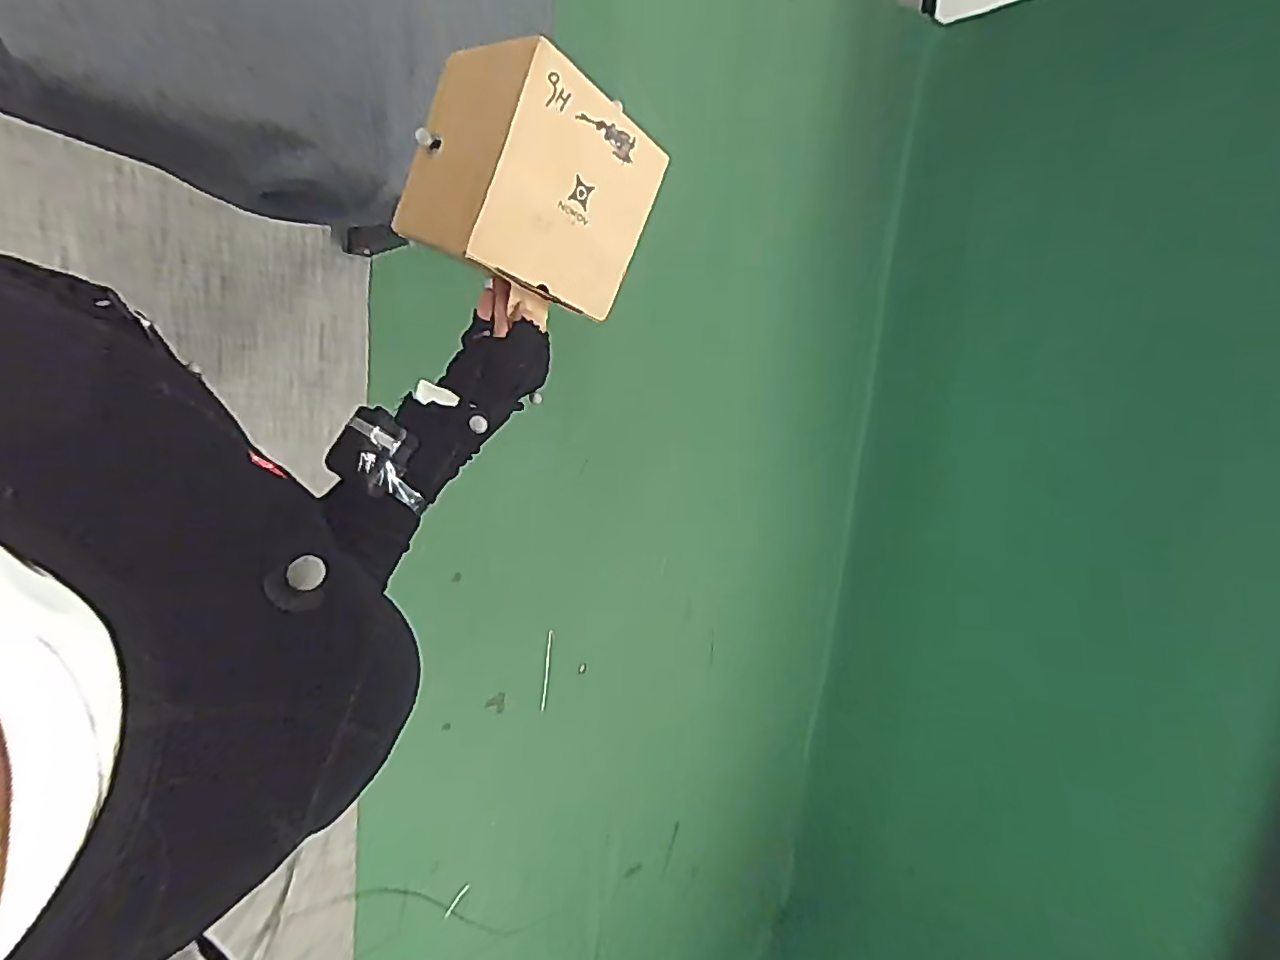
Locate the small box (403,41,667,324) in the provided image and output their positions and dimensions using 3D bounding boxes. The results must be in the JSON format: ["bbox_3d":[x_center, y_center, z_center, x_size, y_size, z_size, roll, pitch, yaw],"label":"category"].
[{"bbox_3d":[-0.111,-0.285,0.540,0.168,0.176,0.179,12,107,-50],"label":"small box"}]
